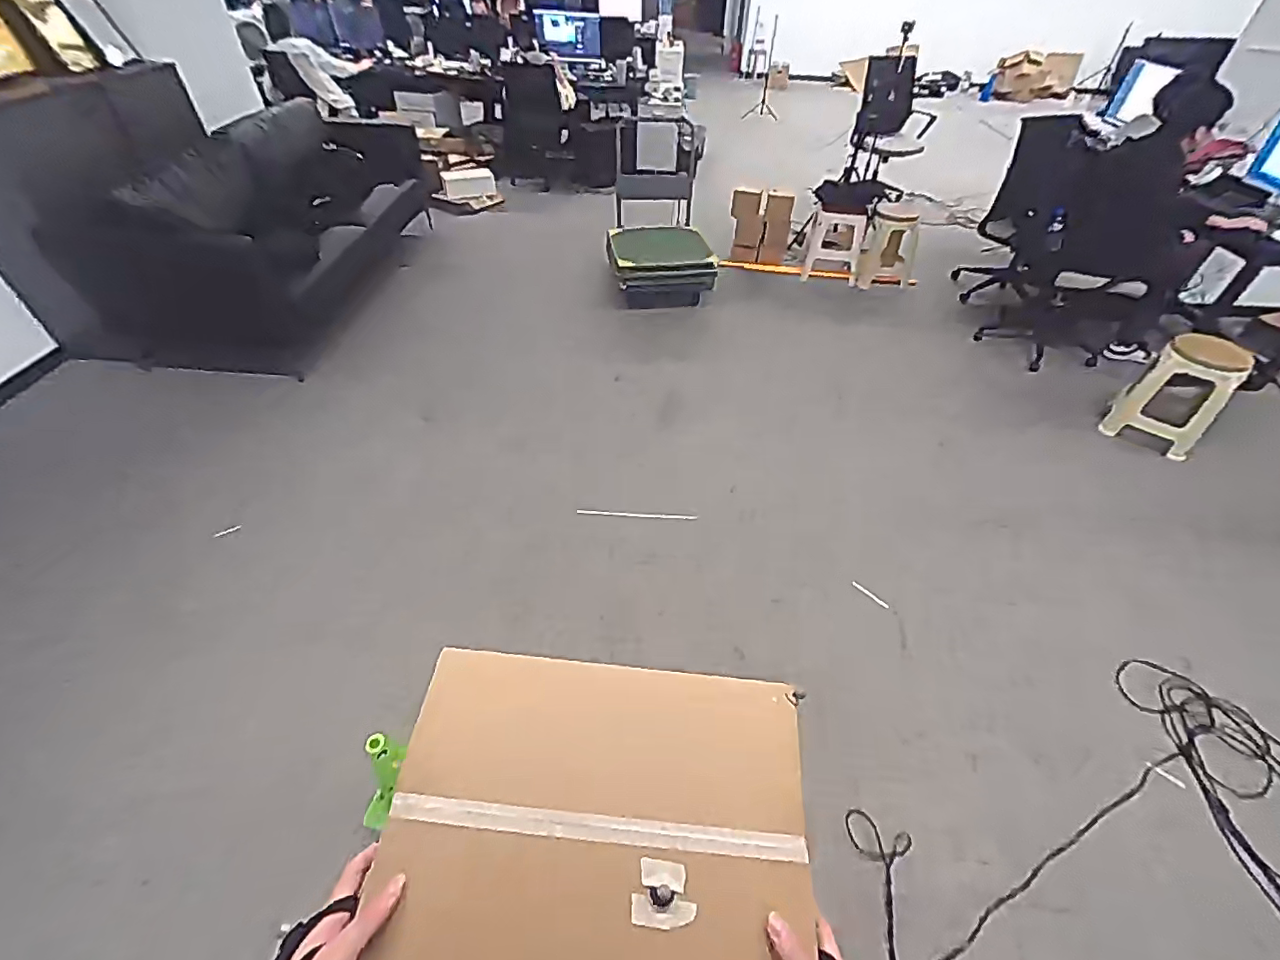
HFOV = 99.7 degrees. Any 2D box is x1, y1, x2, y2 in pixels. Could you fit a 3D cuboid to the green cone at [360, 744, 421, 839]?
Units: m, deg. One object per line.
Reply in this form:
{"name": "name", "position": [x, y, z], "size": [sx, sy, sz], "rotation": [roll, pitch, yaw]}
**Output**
{"name": "green cone", "position": [-0.600, 0.717, 1.312], "size": [0.200, 0.368, 0.202], "rotation": [8, 46, 6]}

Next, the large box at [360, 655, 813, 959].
{"name": "large box", "position": [-0.045, 0.430, 0.650], "size": [0.408, 0.320, 0.320], "rotation": [6, 53, 1]}
